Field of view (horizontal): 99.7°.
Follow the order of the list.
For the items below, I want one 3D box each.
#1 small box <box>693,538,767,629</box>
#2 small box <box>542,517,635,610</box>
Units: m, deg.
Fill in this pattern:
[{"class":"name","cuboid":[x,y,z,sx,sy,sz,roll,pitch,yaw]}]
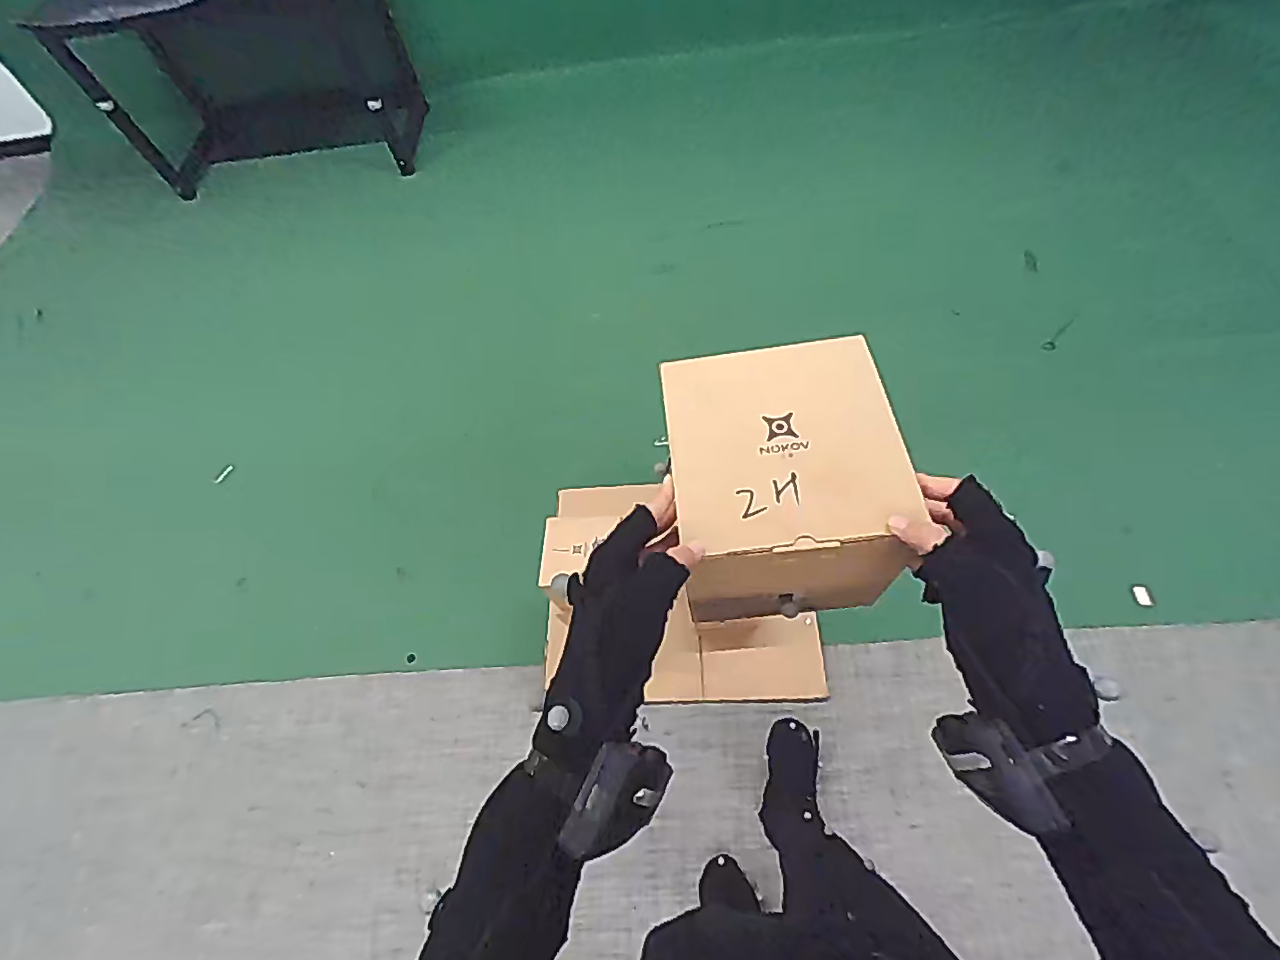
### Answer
[{"class":"small box","cuboid":[0.219,0.263,1.360,0.168,0.176,0.179,-5,60,5]},{"class":"small box","cuboid":[-0.109,0.195,1.246,0.179,0.176,0.168,-2,60,9]}]
